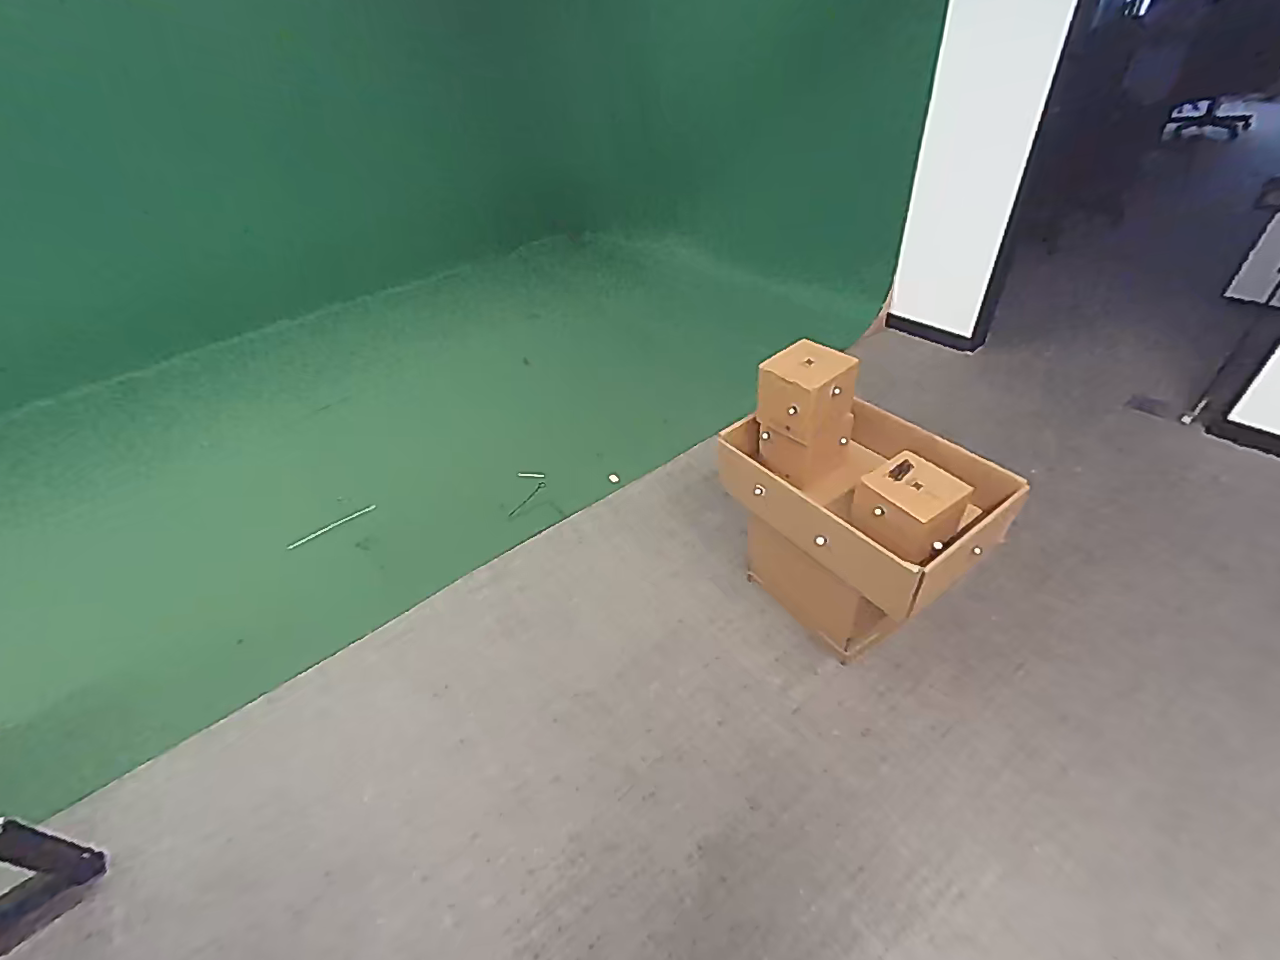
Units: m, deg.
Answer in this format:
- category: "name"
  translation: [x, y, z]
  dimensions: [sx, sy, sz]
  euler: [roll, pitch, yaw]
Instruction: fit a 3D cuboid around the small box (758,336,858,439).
- category: "small box"
  translation: [0.413, -0.228, 1.348]
  dimensions: [0.179, 0.176, 0.168]
  euler: [-32, 47, -24]
